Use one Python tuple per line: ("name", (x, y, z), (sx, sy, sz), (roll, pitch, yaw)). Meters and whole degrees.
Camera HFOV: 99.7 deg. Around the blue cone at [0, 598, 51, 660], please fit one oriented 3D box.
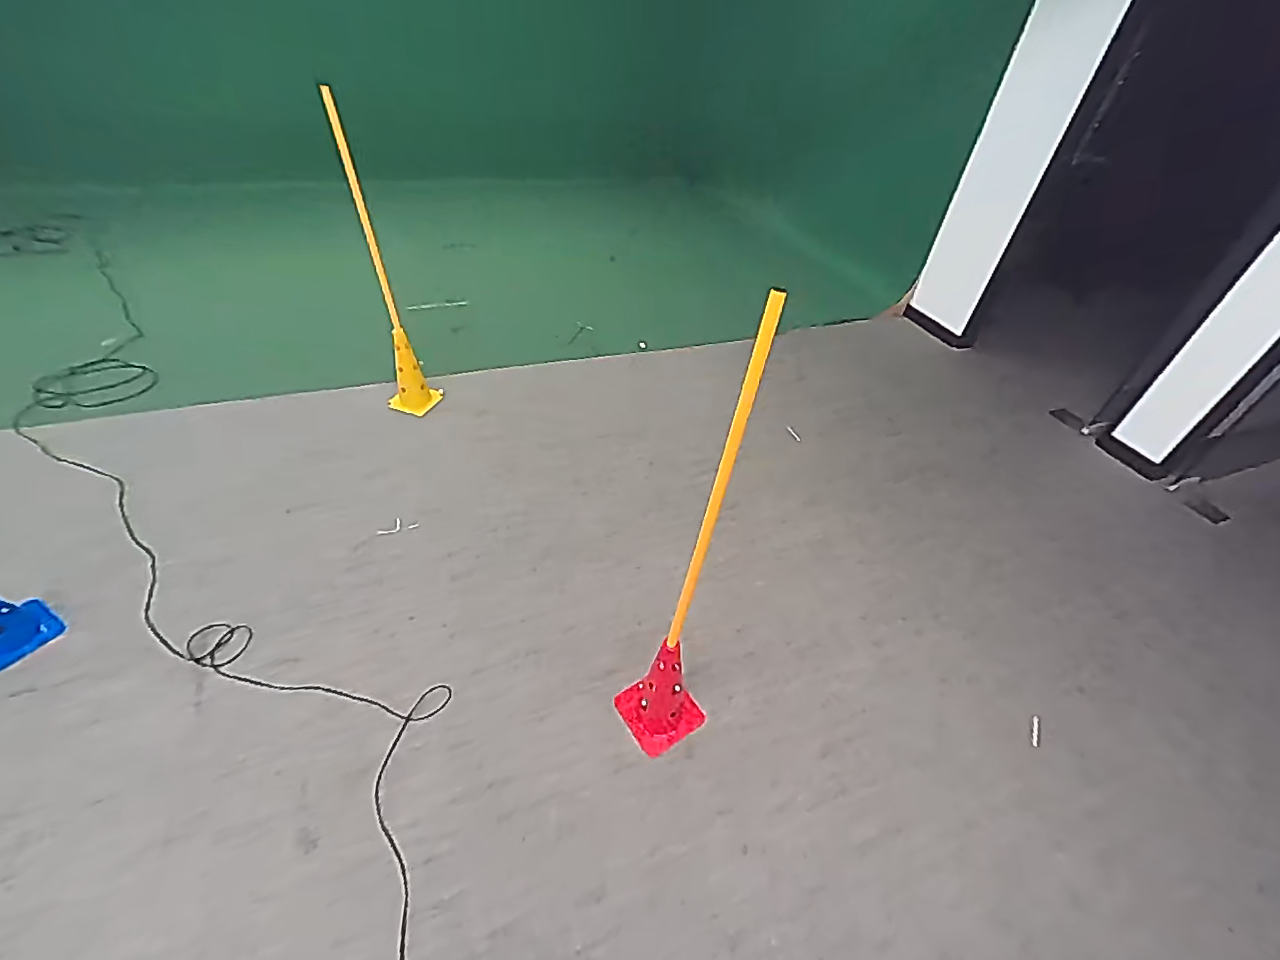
("blue cone", (-1.807, 0.322, 1.422), (0.192, 0.380, 0.193), (24, 47, 18))
